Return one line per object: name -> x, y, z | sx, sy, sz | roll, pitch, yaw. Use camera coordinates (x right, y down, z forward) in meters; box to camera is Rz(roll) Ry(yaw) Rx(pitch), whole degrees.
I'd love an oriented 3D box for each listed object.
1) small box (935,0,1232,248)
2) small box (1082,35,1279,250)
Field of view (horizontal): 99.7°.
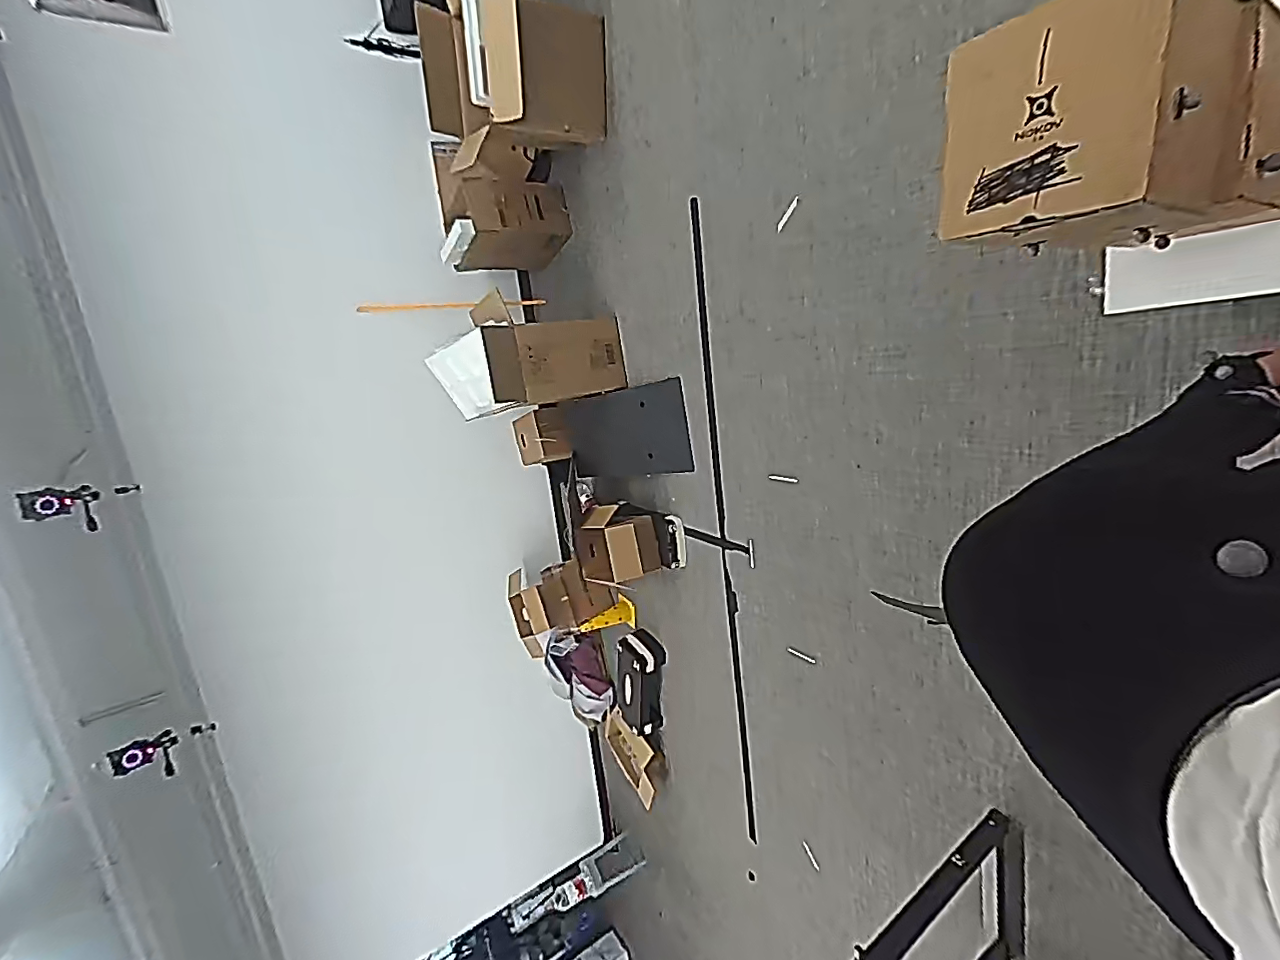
small box -> 0.410, -0.326, 0.511 | 0.168, 0.176, 0.179 | 17, 115, 55
small box -> 0.688, -0.397, 0.673 | 0.168, 0.176, 0.179 | 11, 111, 56
